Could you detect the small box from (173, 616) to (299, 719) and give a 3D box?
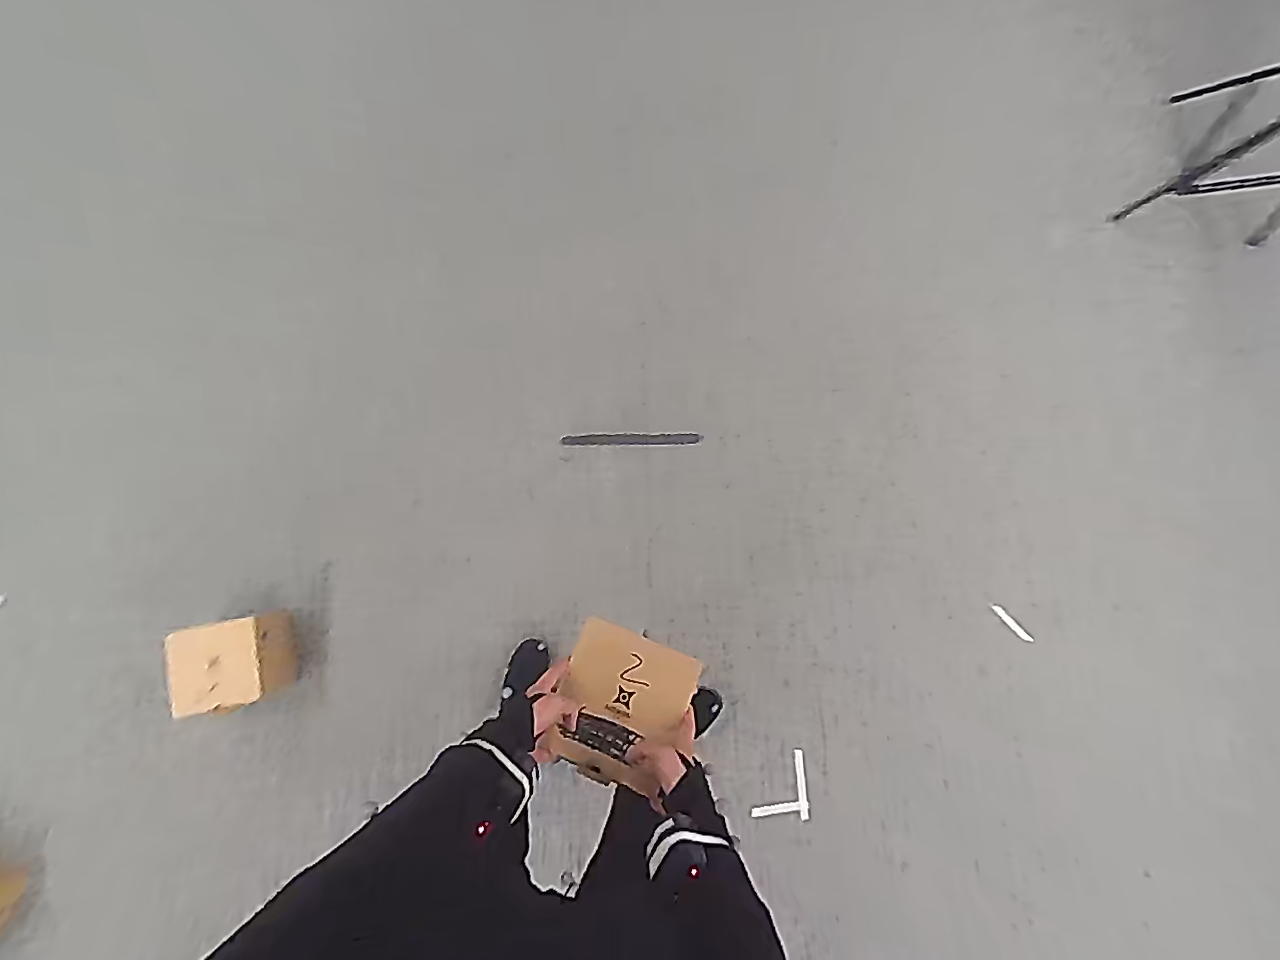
[{"bbox_3d":[-0.883,0.402,1.195,0.168,0.176,0.179,-10,83,-11],"label":"small box"}]
